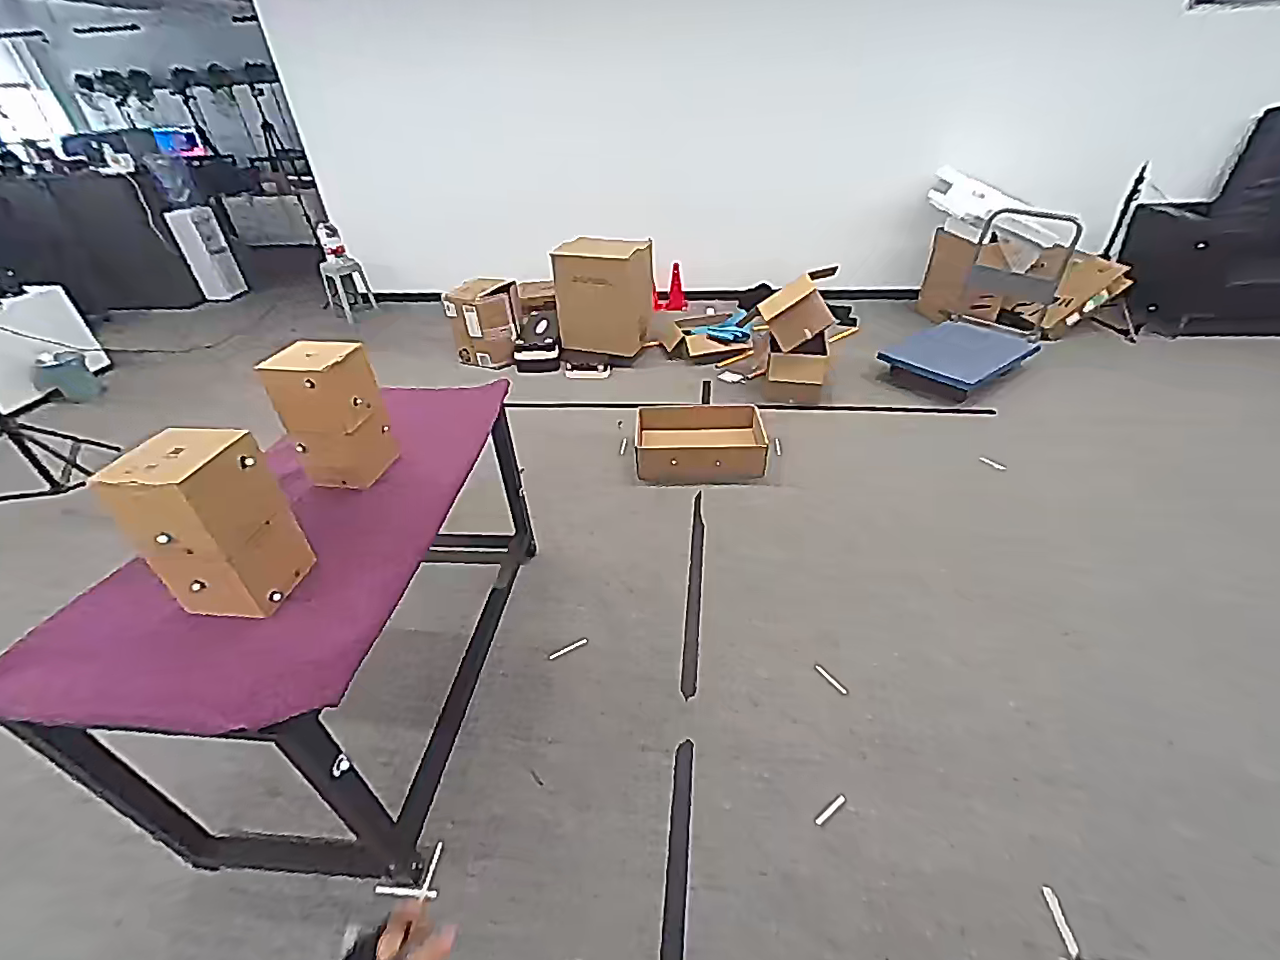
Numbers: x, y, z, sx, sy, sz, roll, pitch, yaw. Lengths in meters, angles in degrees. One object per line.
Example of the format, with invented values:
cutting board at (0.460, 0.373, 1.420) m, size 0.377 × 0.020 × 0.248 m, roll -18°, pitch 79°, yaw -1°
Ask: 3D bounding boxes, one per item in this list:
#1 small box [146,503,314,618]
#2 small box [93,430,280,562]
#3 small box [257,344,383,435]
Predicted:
small box at (-0.798, 0.157, 1.078) m, size 0.179 × 0.176 × 0.168 m, roll 1°, pitch 36°, yaw 6°
small box at (-0.795, 0.025, 0.979) m, size 0.168 × 0.176 × 0.179 m, roll 1°, pitch 36°, yaw 6°
small box at (-0.769, -0.220, 1.319) m, size 0.179 × 0.176 × 0.168 m, roll 3°, pitch 36°, yaw 8°
